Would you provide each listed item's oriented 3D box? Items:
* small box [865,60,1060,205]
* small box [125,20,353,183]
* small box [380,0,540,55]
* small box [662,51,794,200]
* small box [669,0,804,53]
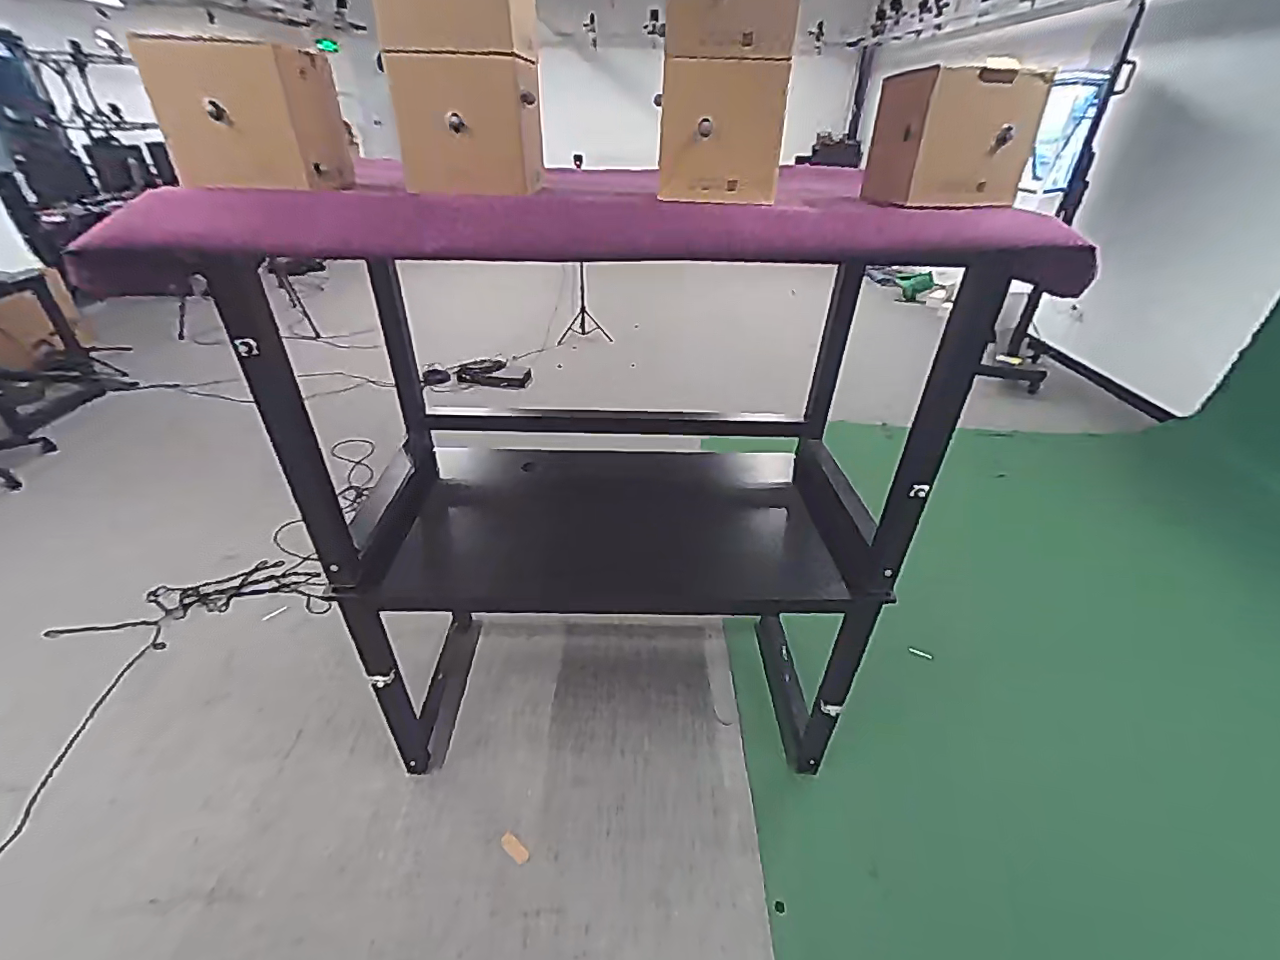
[{"bbox_3d":[0.463,-0.512,0.810,0.168,0.176,0.179,0,32,-3],"label":"small box"},{"bbox_3d":[-0.534,-0.520,0.757,0.179,0.176,0.168,0,34,-4],"label":"small box"},{"bbox_3d":[-0.233,-0.671,0.709,0.179,0.176,0.168,2,34,1],"label":"small box"},{"bbox_3d":[0.121,-0.514,0.796,0.168,0.176,0.179,4,32,3],"label":"small box"},{"bbox_3d":[0.128,-0.653,0.709,0.168,0.176,0.179,5,33,4],"label":"small box"}]
